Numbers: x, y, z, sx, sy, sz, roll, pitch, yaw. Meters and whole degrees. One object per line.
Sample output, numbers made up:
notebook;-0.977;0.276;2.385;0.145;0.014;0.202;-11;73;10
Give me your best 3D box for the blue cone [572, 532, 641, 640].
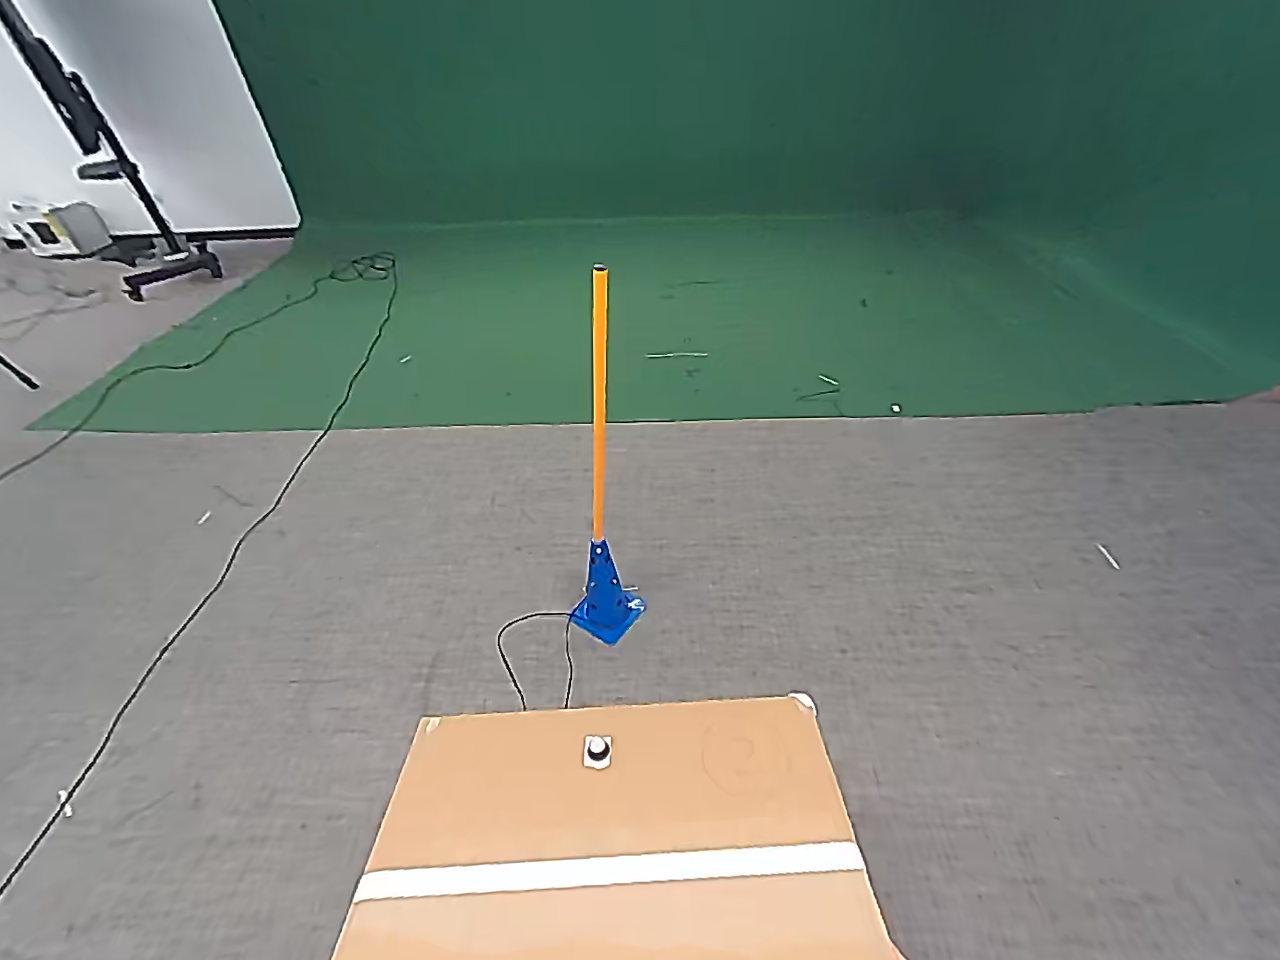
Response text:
blue cone;-0.114;0.301;1.684;0.192;0.380;0.193;23;46;25
